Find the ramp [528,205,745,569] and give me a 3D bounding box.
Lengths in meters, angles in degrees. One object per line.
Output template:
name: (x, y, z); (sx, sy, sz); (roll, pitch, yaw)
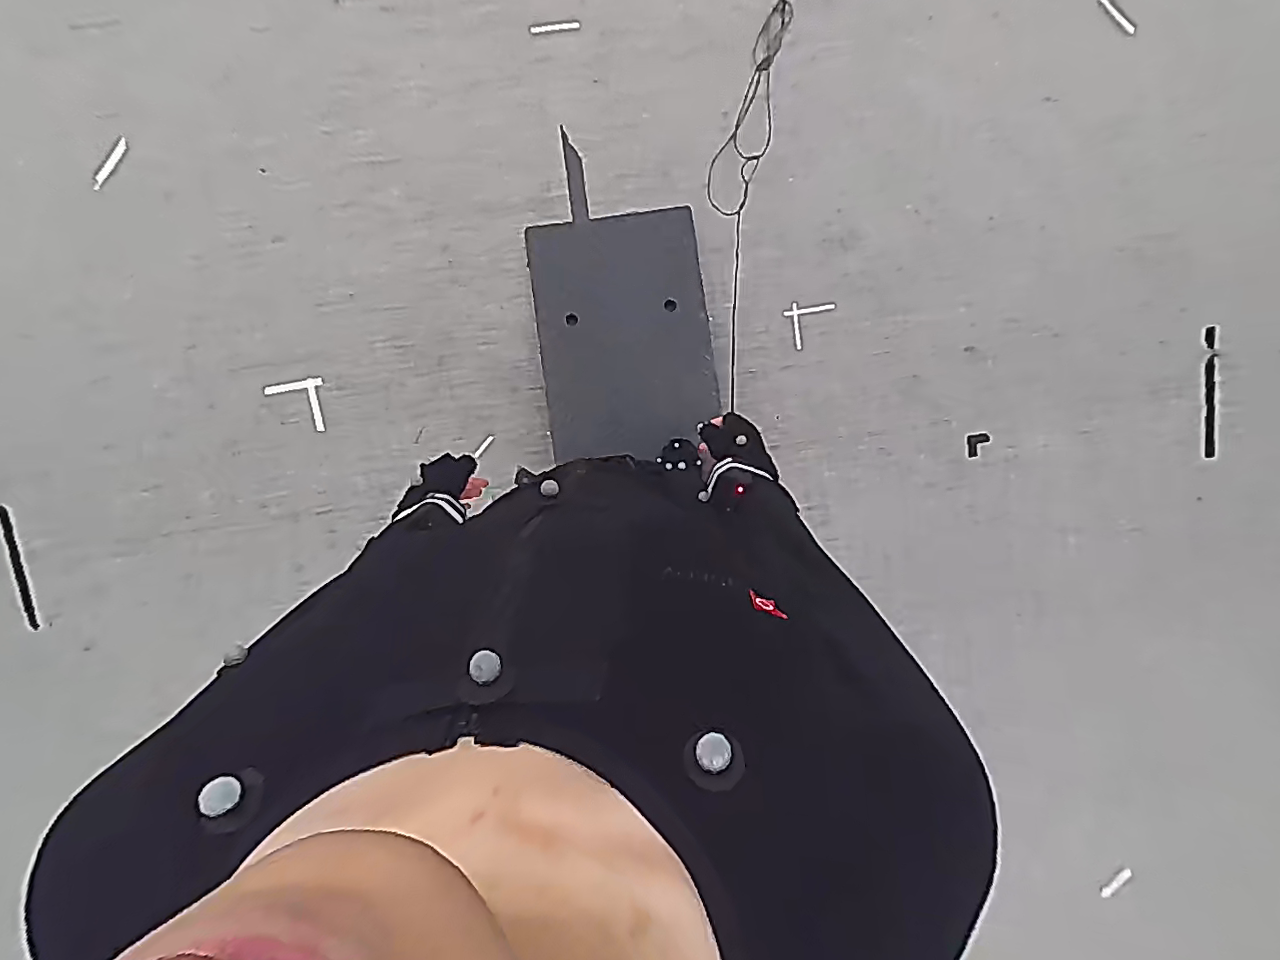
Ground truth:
ramp: (-0.021, -0.274, 1.538); (0.509, 0.206, 0.991); (-10, 96, 1)
